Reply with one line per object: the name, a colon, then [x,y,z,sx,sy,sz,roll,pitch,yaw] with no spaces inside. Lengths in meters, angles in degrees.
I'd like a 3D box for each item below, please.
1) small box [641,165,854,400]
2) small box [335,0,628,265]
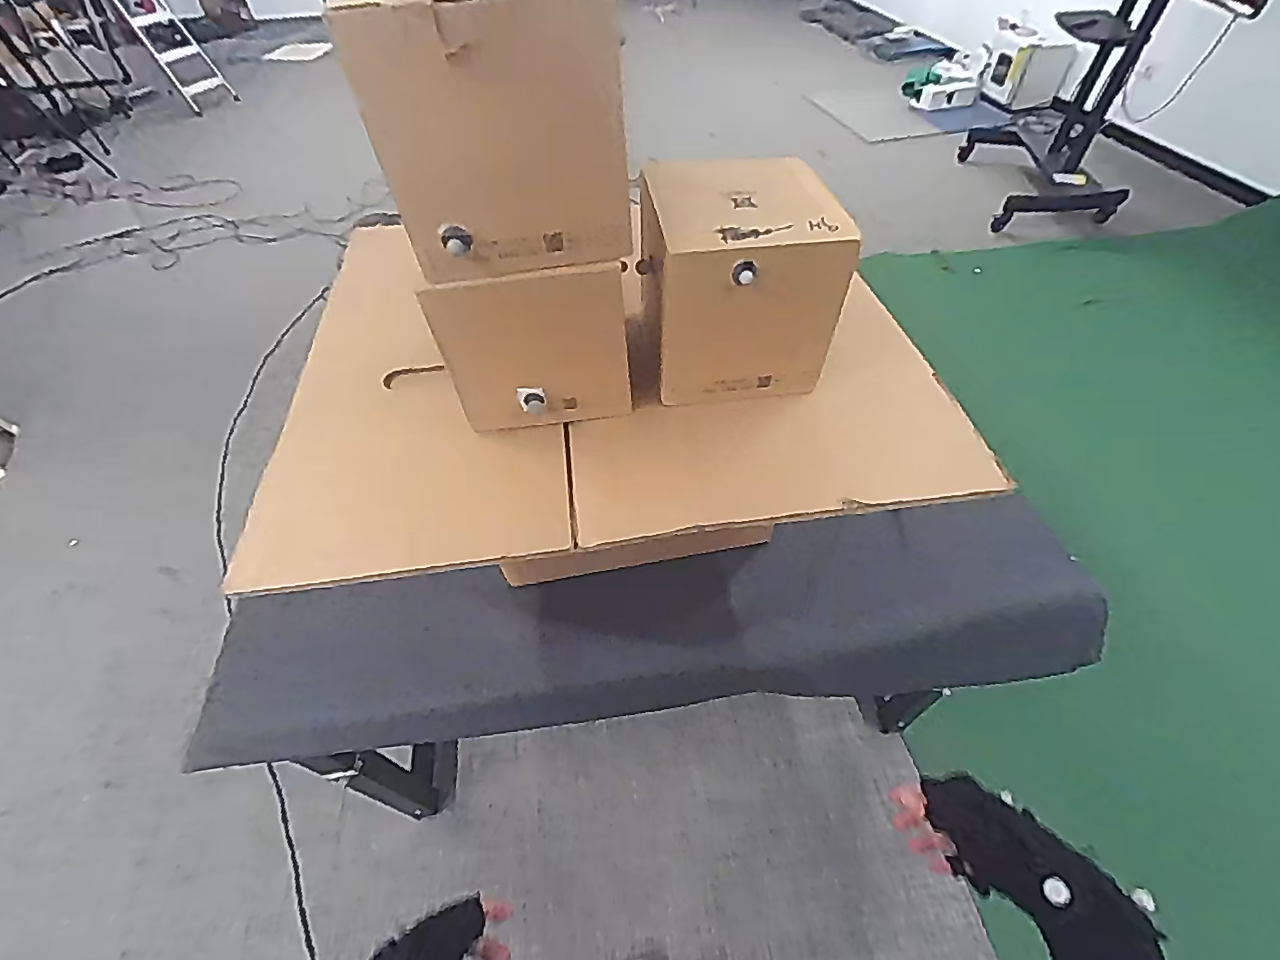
small box: [0.091,-0.205,0.564,0.168,0.176,0.179,-6,50,-5]
small box: [-0.105,-0.287,0.430,0.168,0.176,0.179,-8,50,-3]
